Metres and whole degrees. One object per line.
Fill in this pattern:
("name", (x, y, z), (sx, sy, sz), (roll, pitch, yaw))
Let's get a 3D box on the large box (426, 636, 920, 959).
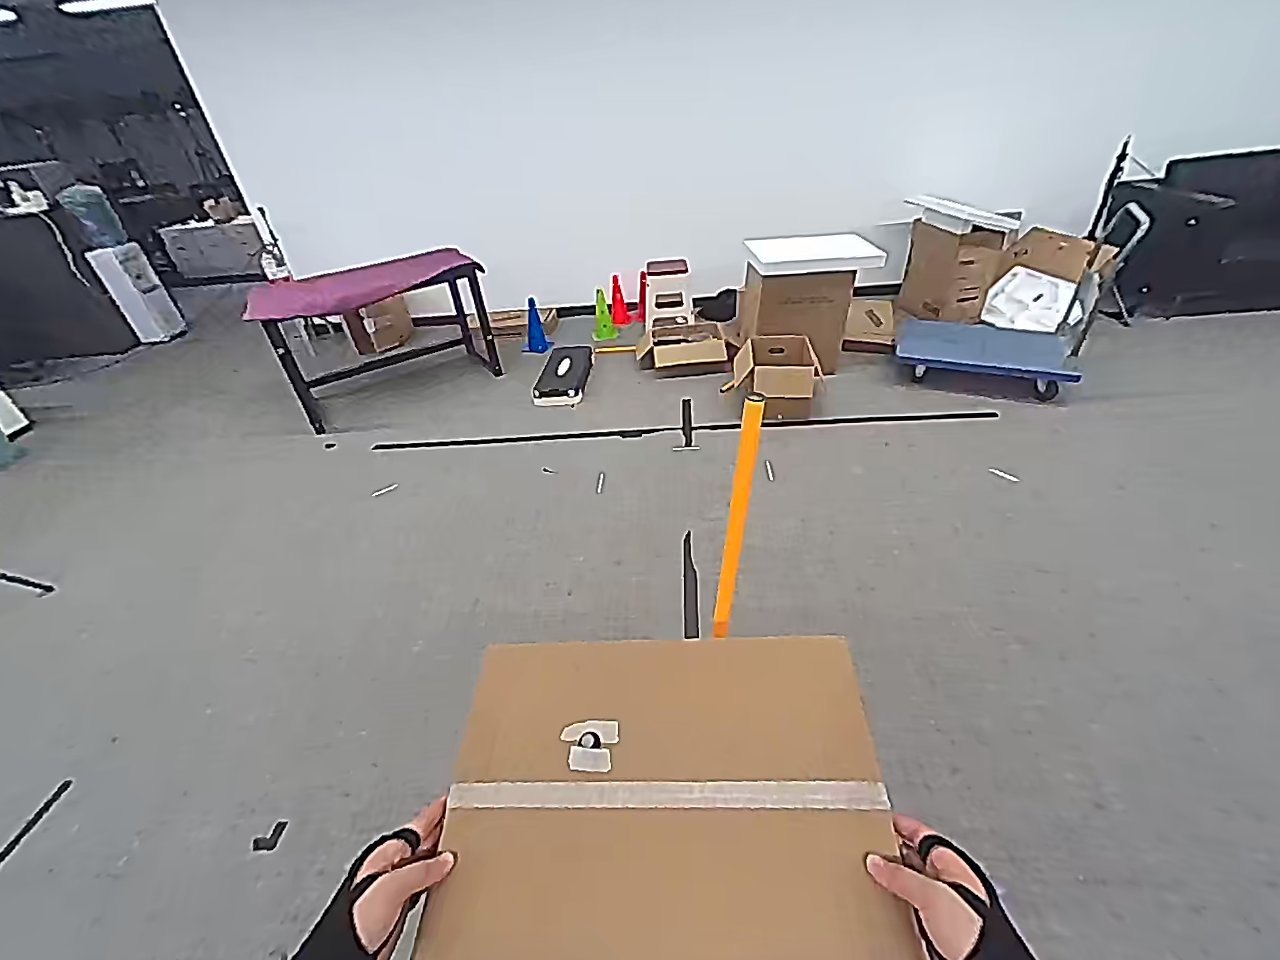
("large box", (0.041, 0.402, 0.617), (0.408, 0.320, 0.320), (-5, 45, 7))
